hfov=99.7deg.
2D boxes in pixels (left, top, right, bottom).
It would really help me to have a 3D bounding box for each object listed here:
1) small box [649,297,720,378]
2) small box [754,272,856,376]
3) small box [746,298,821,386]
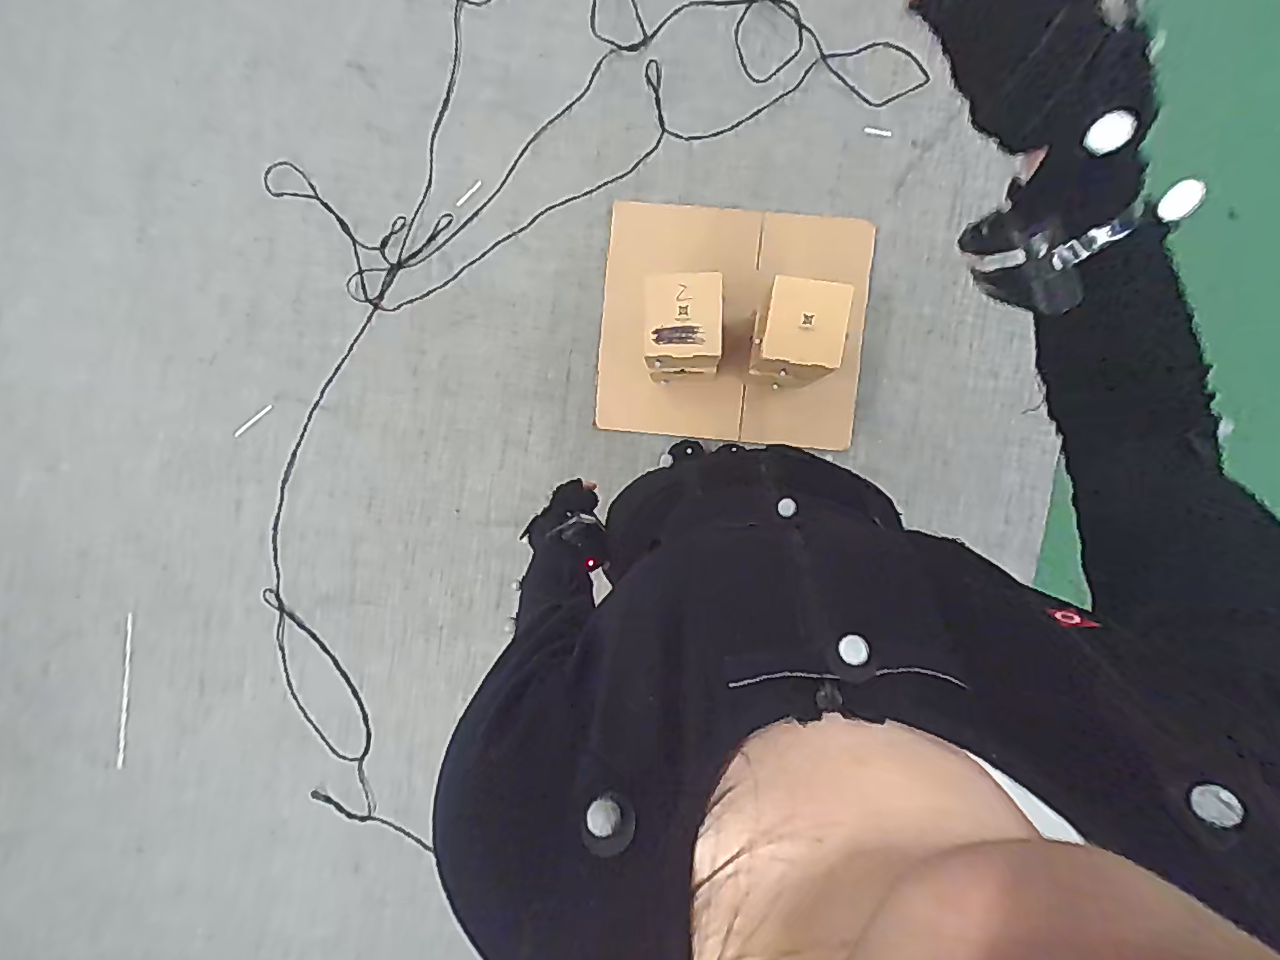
[{"bbox_3d":[0.111,-0.353,1.366,0.168,0.176,0.179,1,93,4],"label":"small box"},{"bbox_3d":[0.354,-0.336,1.192,0.168,0.176,0.179,9,95,3],"label":"small box"},{"bbox_3d":[0.362,-0.340,1.354,0.168,0.176,0.179,6,94,5],"label":"small box"}]
